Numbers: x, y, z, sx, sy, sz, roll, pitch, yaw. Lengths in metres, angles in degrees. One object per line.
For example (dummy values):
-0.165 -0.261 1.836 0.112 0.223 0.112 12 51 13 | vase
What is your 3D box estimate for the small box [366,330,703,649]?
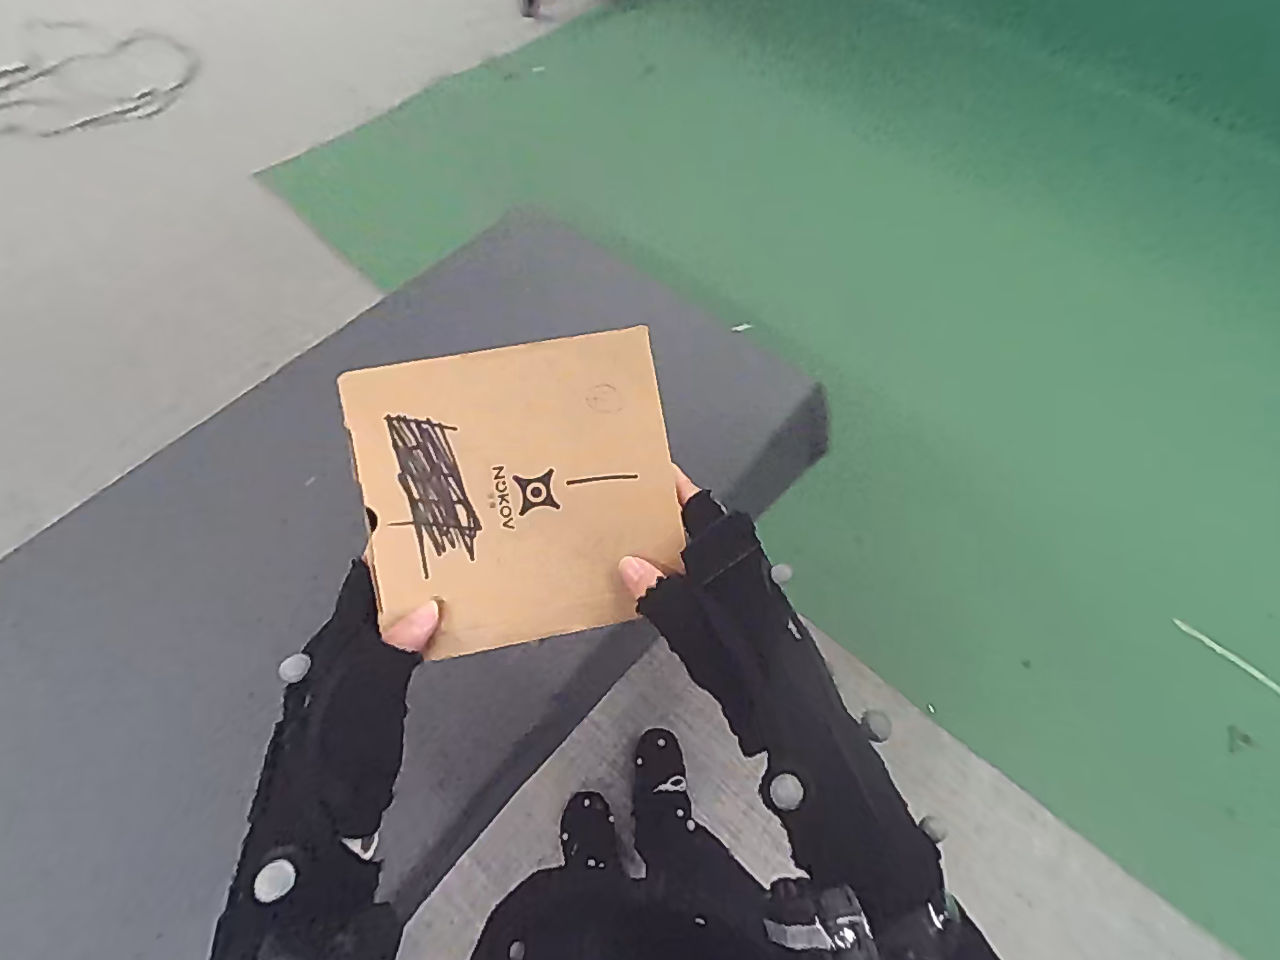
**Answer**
-0.064 0.006 0.390 0.179 0.176 0.168 -9 90 -5 | small box
